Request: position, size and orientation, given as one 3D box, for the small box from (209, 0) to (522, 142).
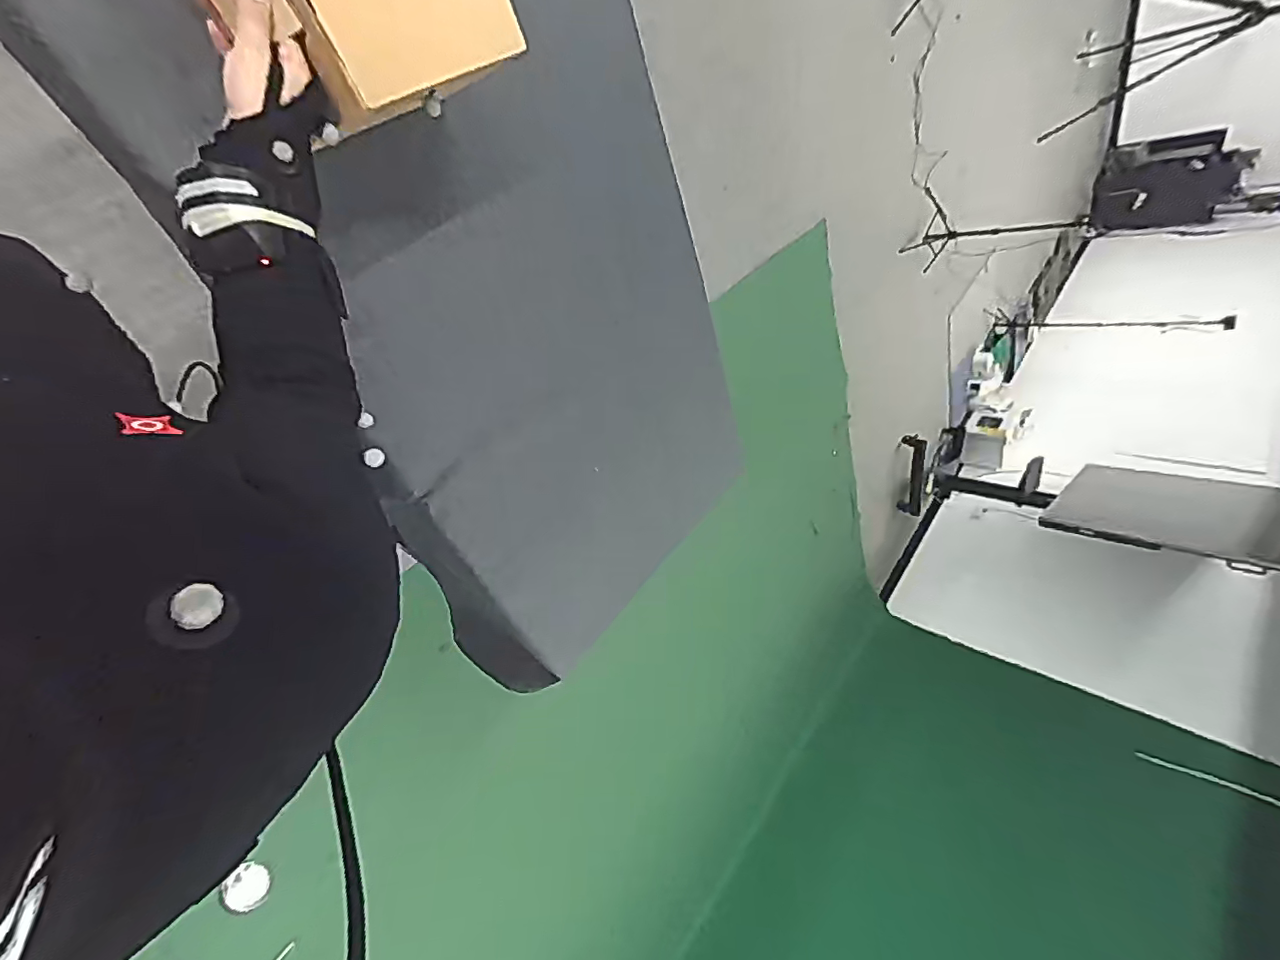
[{"bbox_3d":[-0.242,-0.417,0.462,0.179,0.176,0.168,-46,133,-26],"label":"small box"}]
